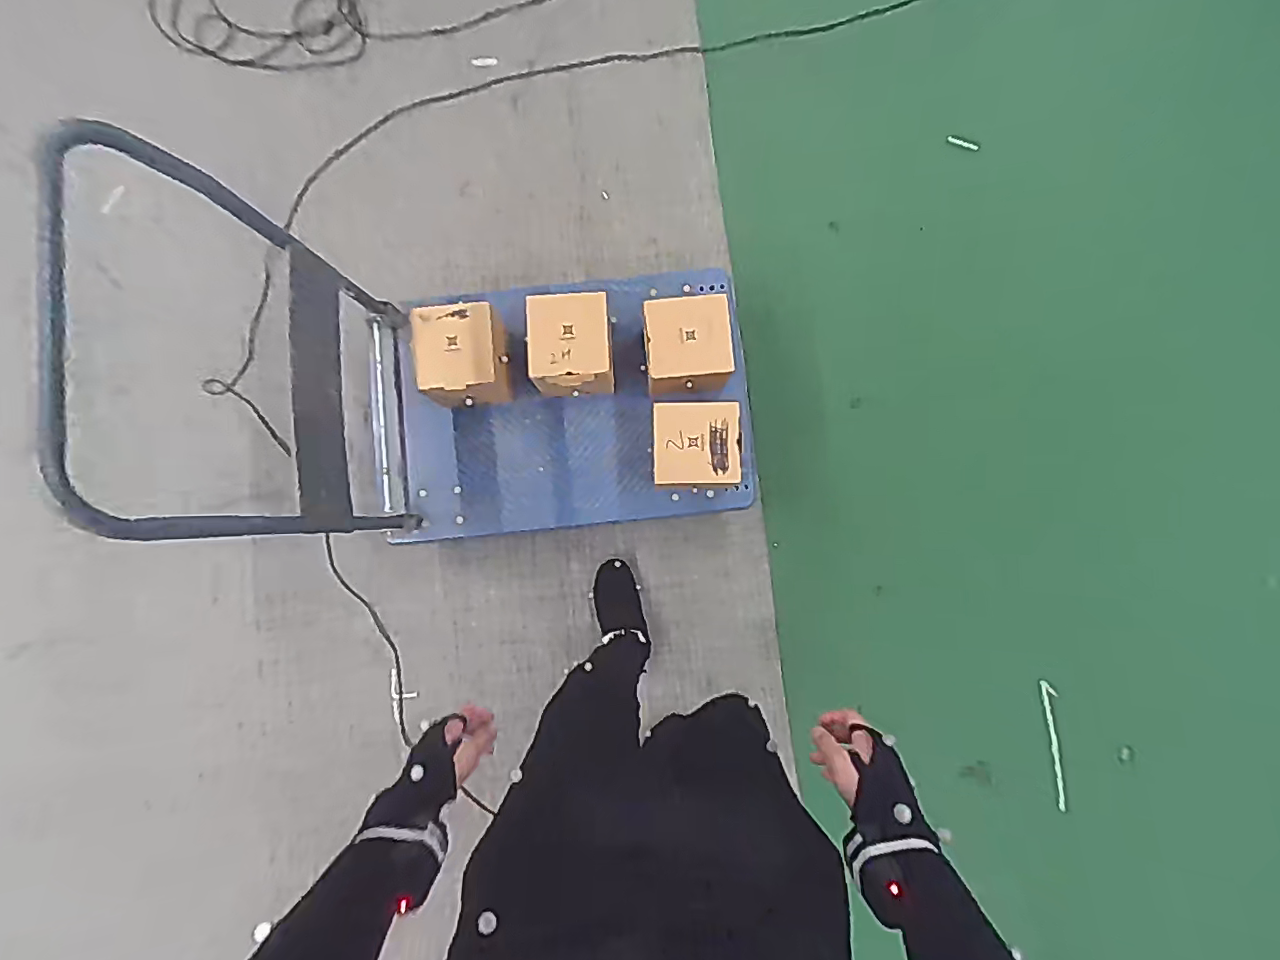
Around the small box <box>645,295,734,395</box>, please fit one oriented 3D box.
[{"bbox_3d":[0.103,-0.288,1.184,0.179,0.176,0.168,-4,86,0],"label":"small box"}]

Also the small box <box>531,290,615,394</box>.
[{"bbox_3d":[-0.143,-0.296,1.185,0.168,0.176,0.179,-2,85,1],"label":"small box"}]

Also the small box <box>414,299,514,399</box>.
[{"bbox_3d":[-0.378,-0.277,1.184,0.168,0.176,0.179,-4,86,0],"label":"small box"}]
